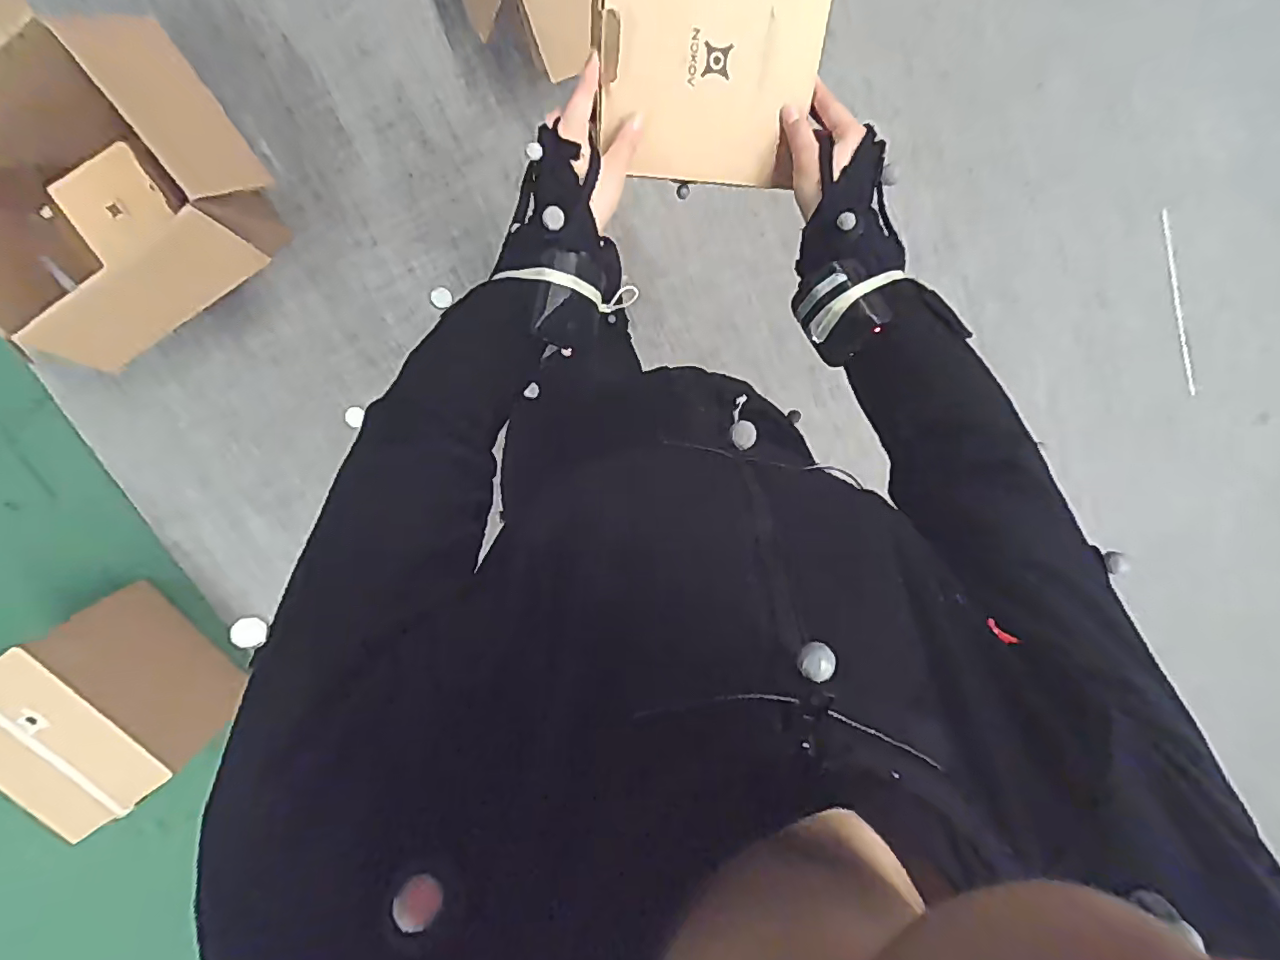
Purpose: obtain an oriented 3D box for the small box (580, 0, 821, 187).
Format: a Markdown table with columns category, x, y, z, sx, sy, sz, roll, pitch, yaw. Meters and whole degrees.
| category | x | y | z | sx | sy | sz | roll | pitch | yaw |
| --- | --- | --- | --- | --- | --- | --- | --- | --- | --- |
| small box | 0.037 | -0.361 | 0.482 | 0.179 | 0.176 | 0.168 | 0 | 120 | -9 |
